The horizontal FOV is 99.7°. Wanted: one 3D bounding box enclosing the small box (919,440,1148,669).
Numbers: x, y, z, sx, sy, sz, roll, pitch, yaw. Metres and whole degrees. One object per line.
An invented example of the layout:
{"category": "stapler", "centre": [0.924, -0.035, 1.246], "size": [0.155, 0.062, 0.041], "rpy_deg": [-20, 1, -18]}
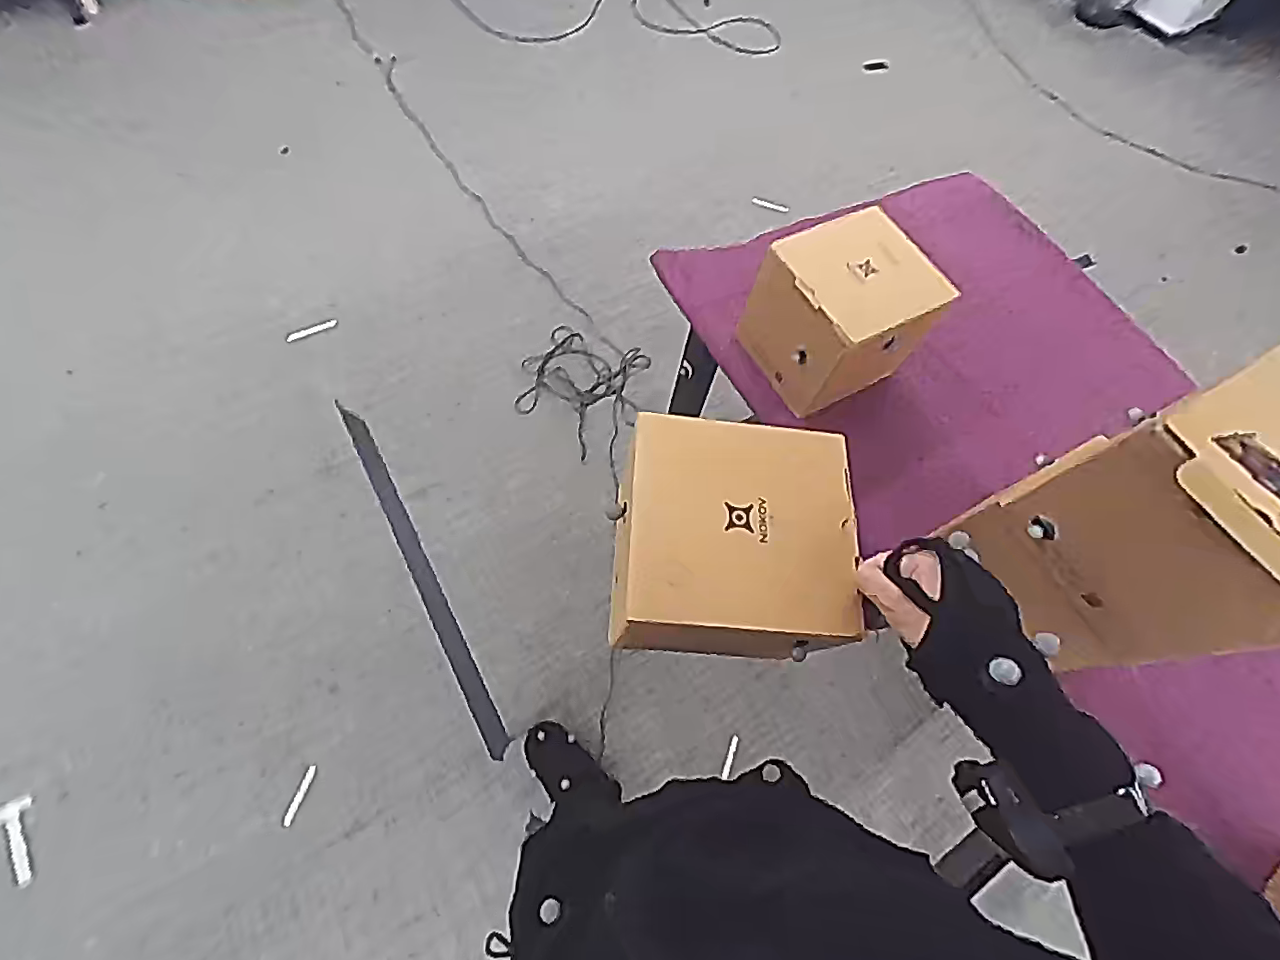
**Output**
{"category": "small box", "centre": [0.458, 0.092, 0.594], "size": [0.168, 0.176, 0.179], "rpy_deg": [-26, 71, -16]}

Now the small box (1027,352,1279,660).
{"category": "small box", "centre": [0.469, 0.028, 0.441], "size": [0.179, 0.176, 0.168], "rpy_deg": [-25, 70, -16]}

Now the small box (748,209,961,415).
{"category": "small box", "centre": [0.262, -0.213, 0.715], "size": [0.179, 0.176, 0.168], "rpy_deg": [-26, 72, -17]}

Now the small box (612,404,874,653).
{"category": "small box", "centre": [0.071, 0.055, 0.472], "size": [0.179, 0.176, 0.168], "rpy_deg": [6, 66, -7]}
